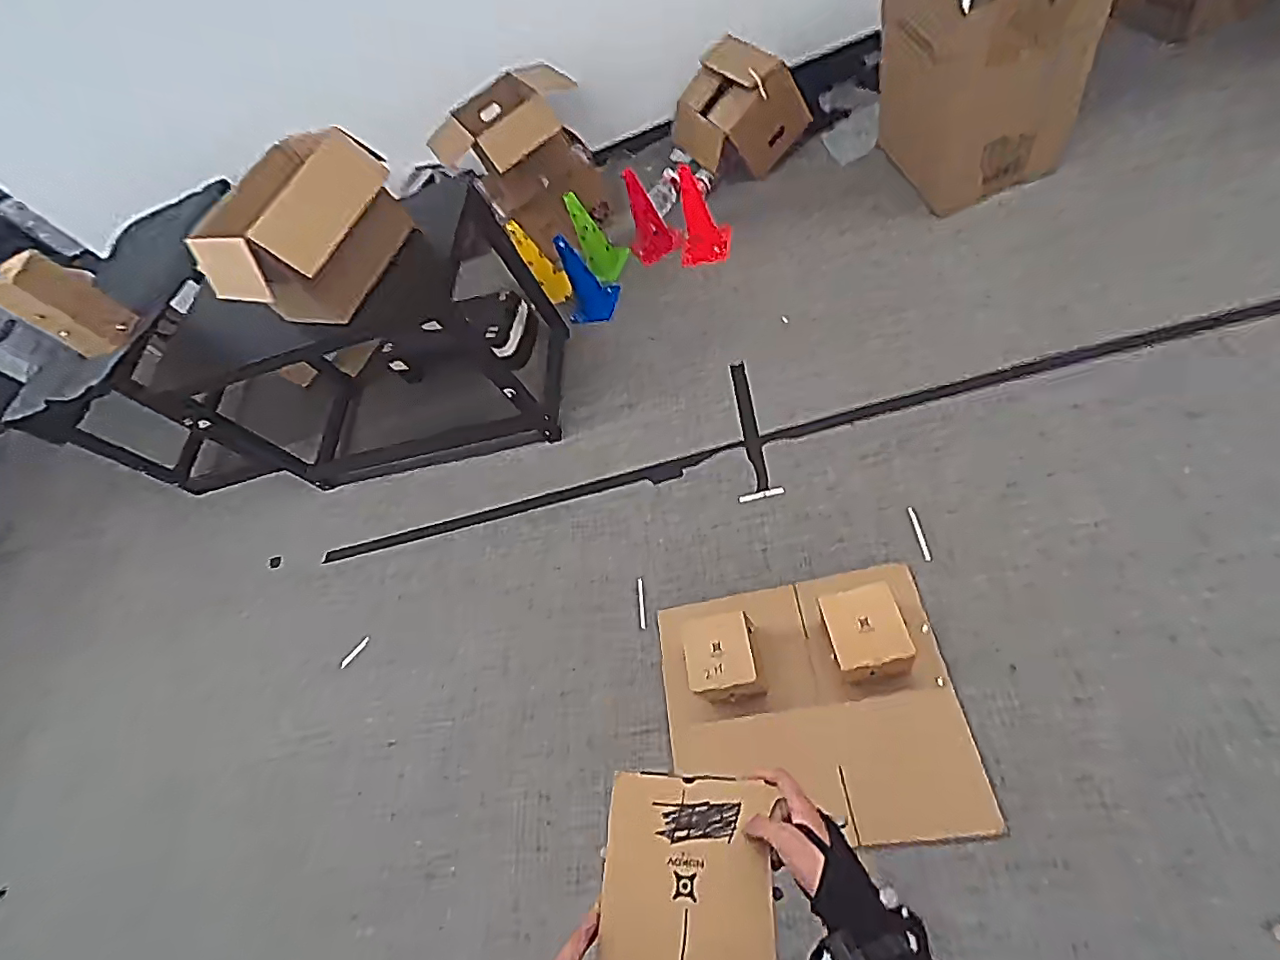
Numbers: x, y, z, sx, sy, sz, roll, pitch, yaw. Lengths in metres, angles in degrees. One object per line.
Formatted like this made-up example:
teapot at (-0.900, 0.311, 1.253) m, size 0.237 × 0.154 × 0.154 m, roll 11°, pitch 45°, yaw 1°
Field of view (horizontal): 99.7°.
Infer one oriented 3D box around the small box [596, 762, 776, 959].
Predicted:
small box at (0.057, 0.427, 0.594) m, size 0.168 × 0.176 × 0.179 m, roll 0°, pitch 54°, yaw 9°

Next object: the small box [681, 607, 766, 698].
small box at (0.215, 0.446, 1.384) m, size 0.168 × 0.176 × 0.179 m, roll -16°, pitch 58°, yaw 15°

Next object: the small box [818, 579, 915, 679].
small box at (0.539, 0.364, 1.303) m, size 0.168 × 0.176 × 0.179 m, roll -19°, pitch 57°, yaw 12°
